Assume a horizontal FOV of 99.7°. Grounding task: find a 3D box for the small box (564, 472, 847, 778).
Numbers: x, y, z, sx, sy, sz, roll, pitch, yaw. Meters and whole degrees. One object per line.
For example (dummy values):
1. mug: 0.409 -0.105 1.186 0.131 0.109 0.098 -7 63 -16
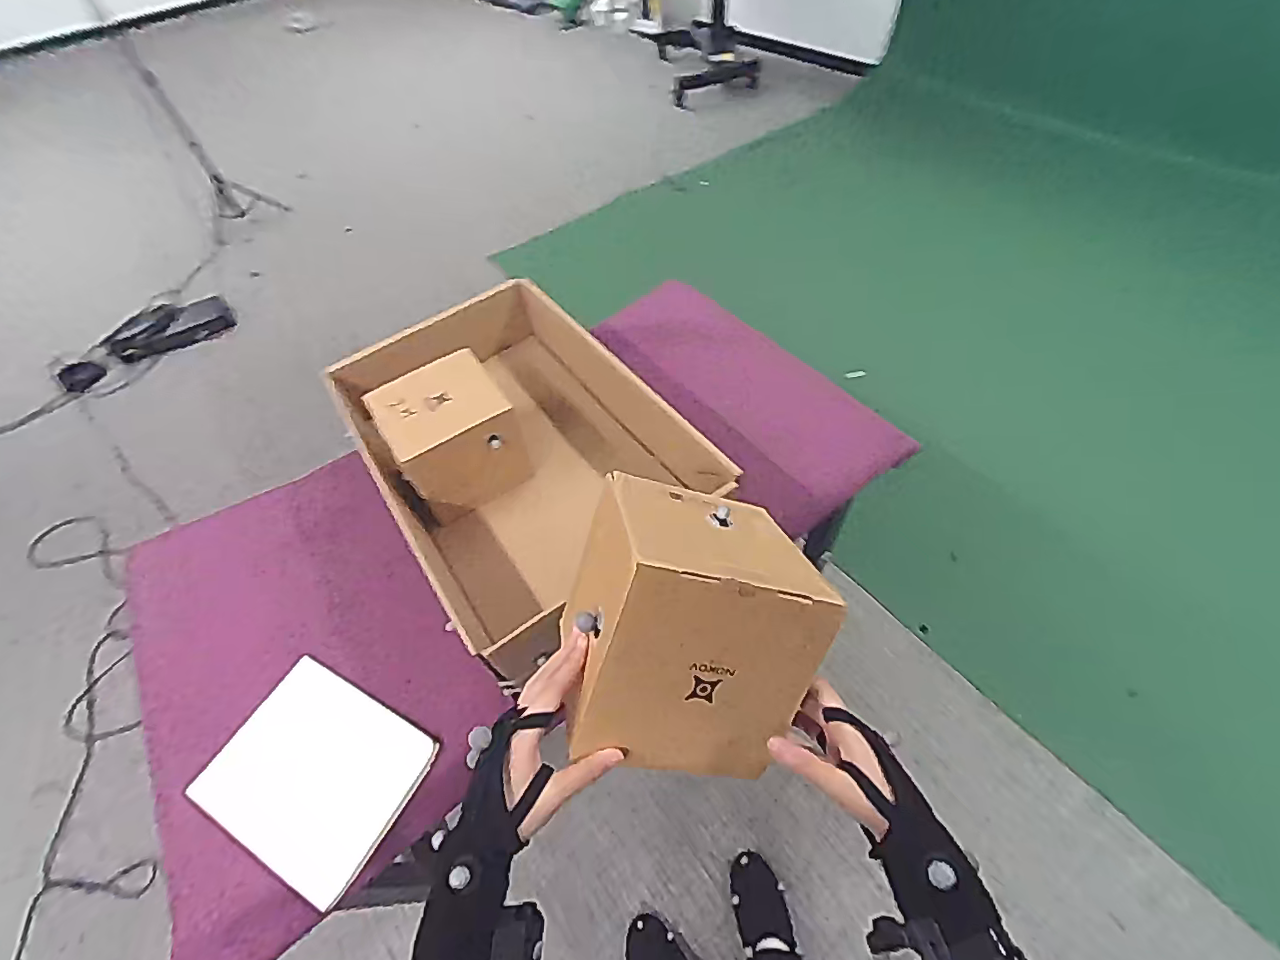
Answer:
1. small box: 0.037 0.116 0.469 0.168 0.179 0.176 15 18 -14
